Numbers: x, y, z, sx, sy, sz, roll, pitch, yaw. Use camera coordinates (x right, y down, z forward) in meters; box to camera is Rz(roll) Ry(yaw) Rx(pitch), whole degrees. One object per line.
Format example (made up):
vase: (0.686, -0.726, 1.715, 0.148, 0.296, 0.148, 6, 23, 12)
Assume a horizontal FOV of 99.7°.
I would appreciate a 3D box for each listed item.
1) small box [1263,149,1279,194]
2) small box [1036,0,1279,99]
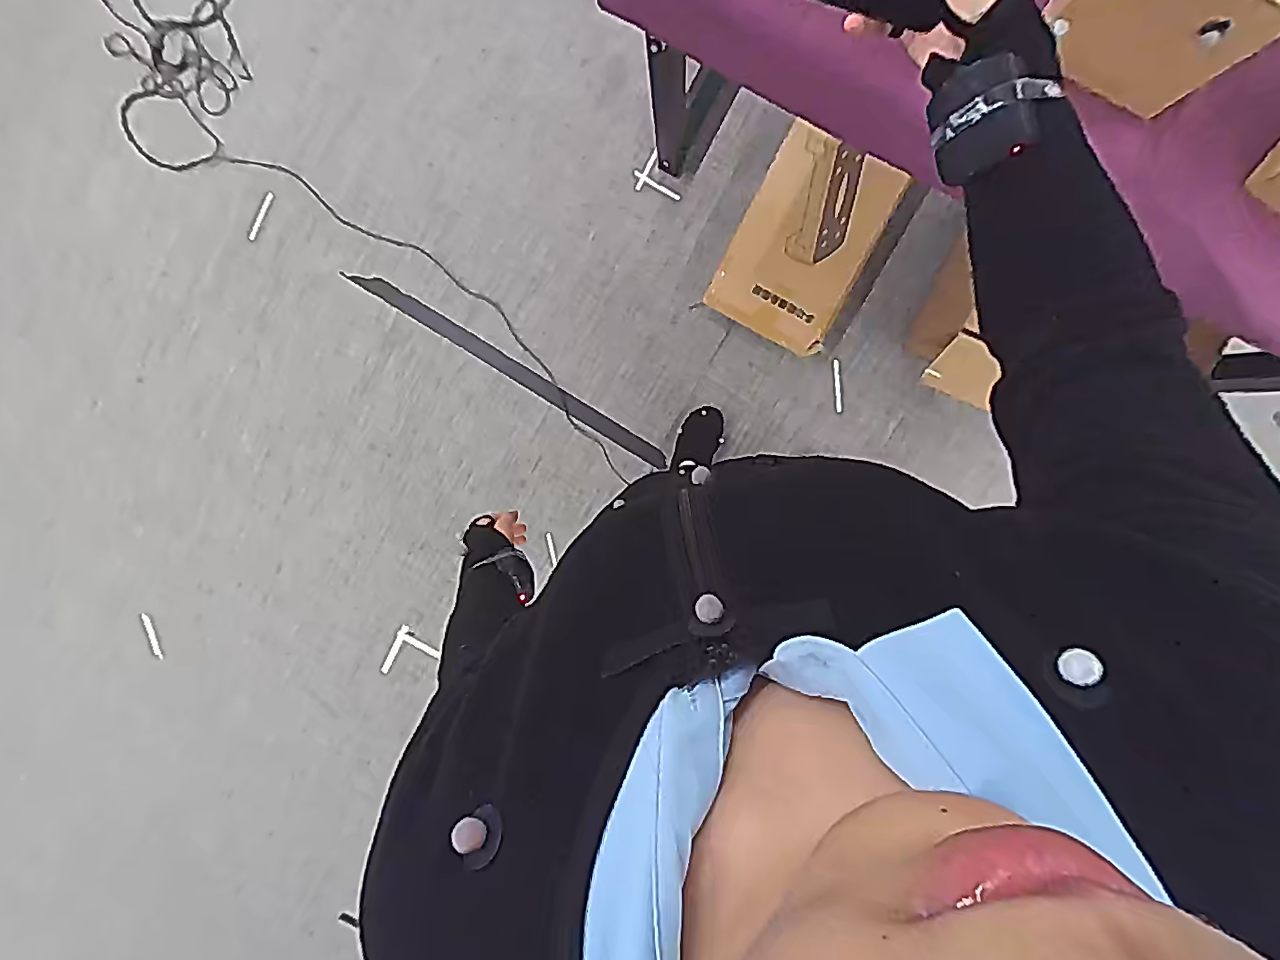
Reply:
small box: (0.838, -0.365, 0.554, 0.179, 0.176, 0.168, 35, 99, -2)
small box: (0.570, -0.537, 0.549, 0.179, 0.176, 0.168, 28, 97, 0)
